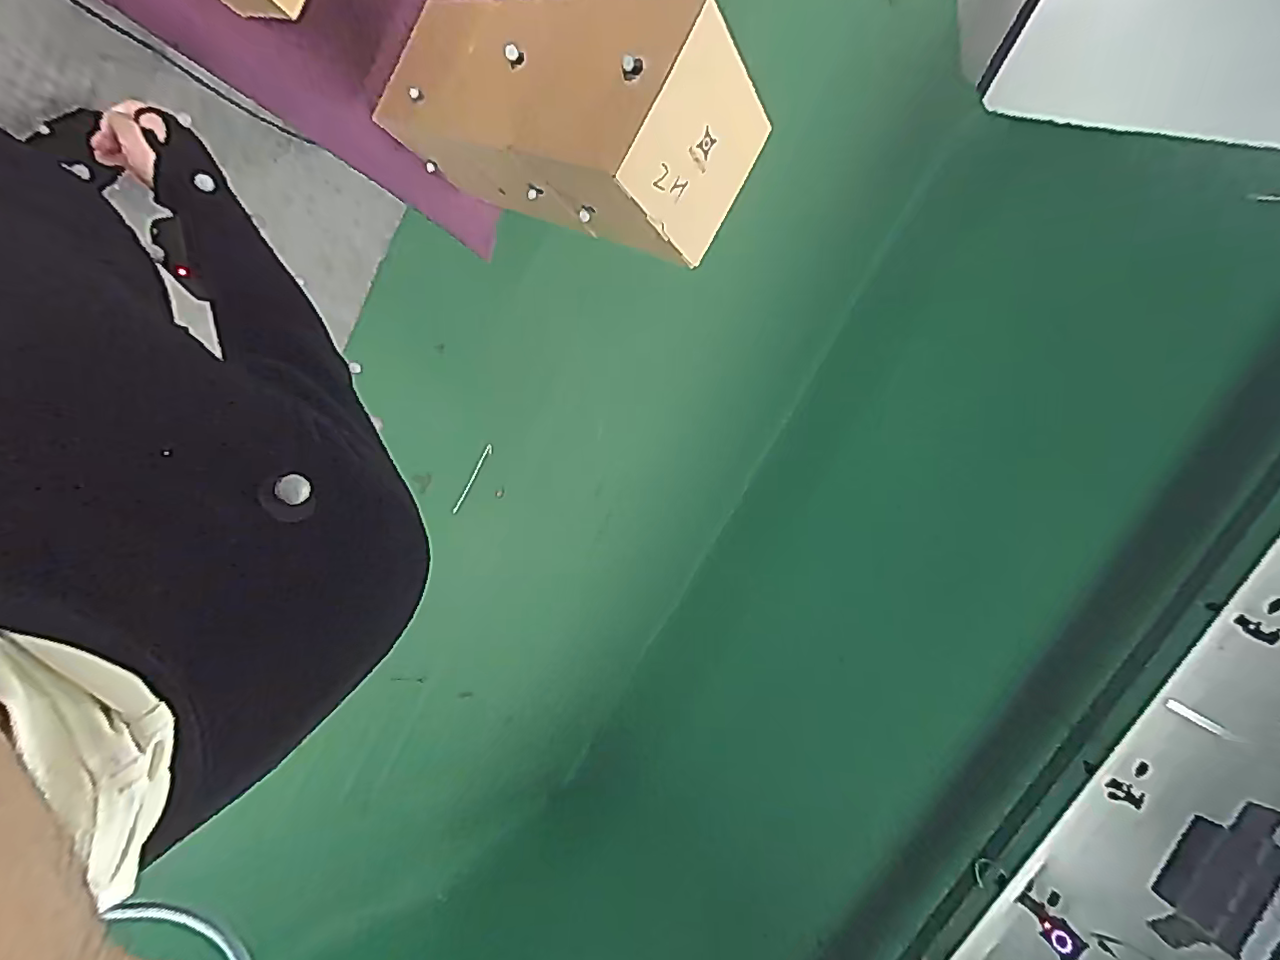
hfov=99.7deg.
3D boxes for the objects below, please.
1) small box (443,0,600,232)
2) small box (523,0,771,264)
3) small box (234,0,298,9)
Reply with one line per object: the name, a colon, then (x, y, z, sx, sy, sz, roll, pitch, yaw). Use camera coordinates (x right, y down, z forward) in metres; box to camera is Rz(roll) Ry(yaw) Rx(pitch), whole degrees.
small box: (-0.111, -0.448, 0.670, 0.168, 0.176, 0.179, 21, 101, -56)
small box: (0.005, -0.372, 0.580, 0.168, 0.176, 0.179, 20, 103, -56)
small box: (-0.393, -0.581, 0.492, 0.168, 0.176, 0.179, 18, 103, -57)
